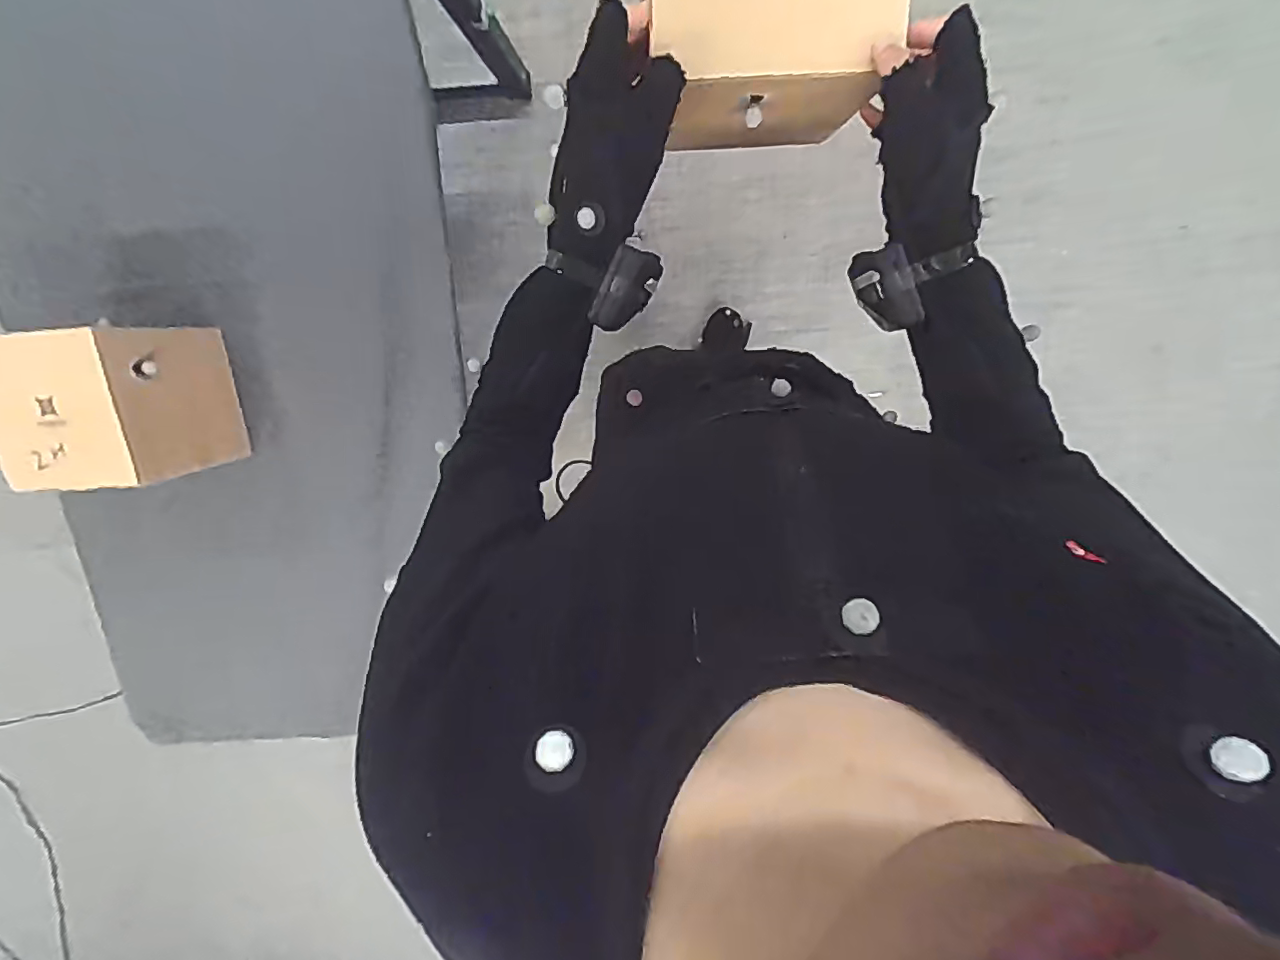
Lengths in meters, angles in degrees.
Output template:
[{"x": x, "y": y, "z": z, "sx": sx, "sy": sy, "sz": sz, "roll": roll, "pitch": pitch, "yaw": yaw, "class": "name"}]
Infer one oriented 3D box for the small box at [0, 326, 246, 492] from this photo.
[{"x": -0.639, "y": -0.093, "z": 0.667, "sx": 0.168, "sy": 0.176, "sz": 0.179, "roll": -2, "pitch": 106, "yaw": 5, "class": "small box"}]
